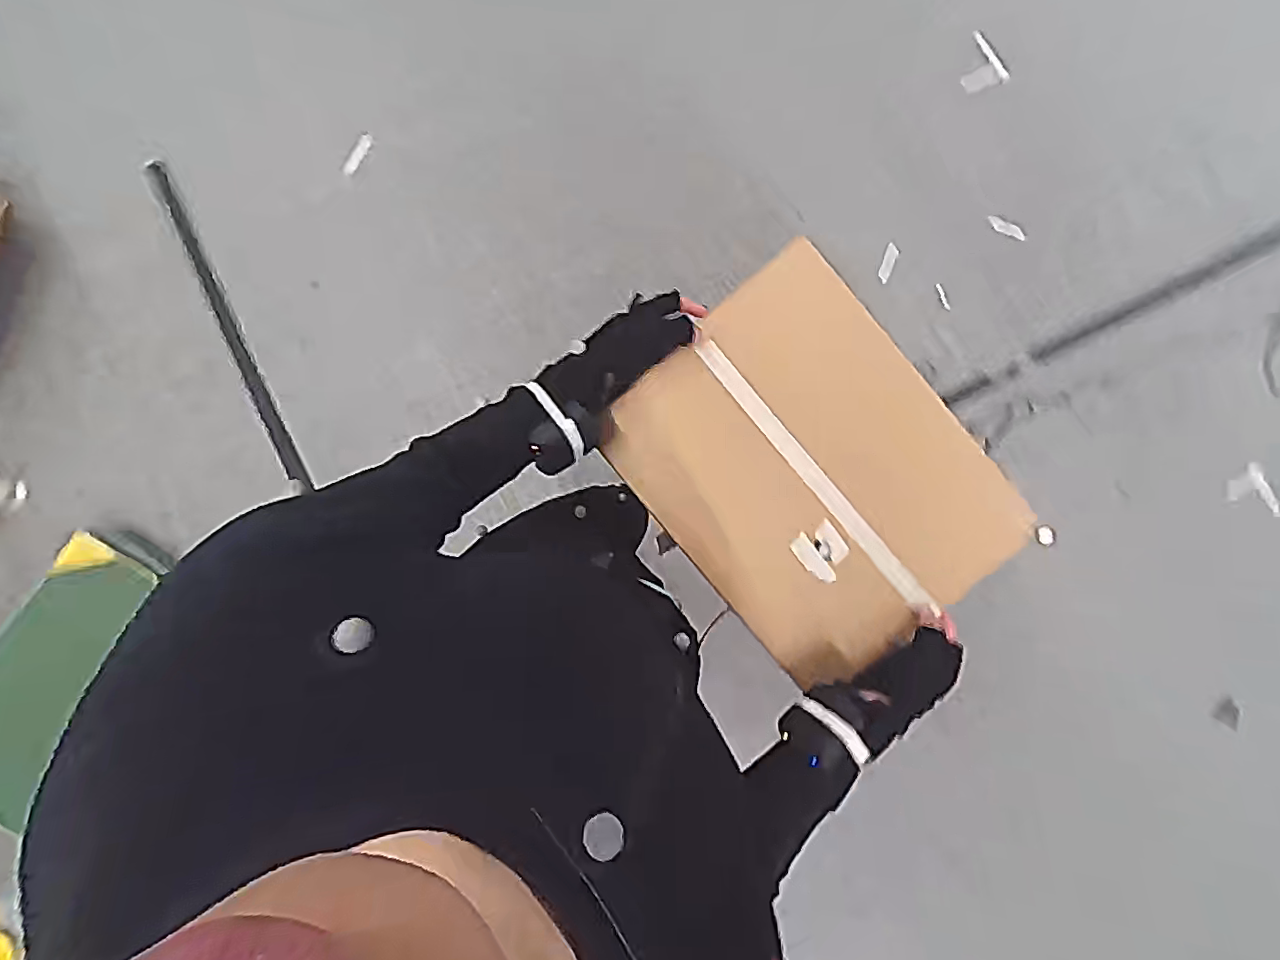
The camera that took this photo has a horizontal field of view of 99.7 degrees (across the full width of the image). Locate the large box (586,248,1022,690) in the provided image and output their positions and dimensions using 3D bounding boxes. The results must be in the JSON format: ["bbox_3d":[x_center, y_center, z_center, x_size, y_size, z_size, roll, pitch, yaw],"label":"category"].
[{"bbox_3d":[0.178,-0.014,0.741,0.320,0.320,0.408,-40,92,1],"label":"large box"}]
